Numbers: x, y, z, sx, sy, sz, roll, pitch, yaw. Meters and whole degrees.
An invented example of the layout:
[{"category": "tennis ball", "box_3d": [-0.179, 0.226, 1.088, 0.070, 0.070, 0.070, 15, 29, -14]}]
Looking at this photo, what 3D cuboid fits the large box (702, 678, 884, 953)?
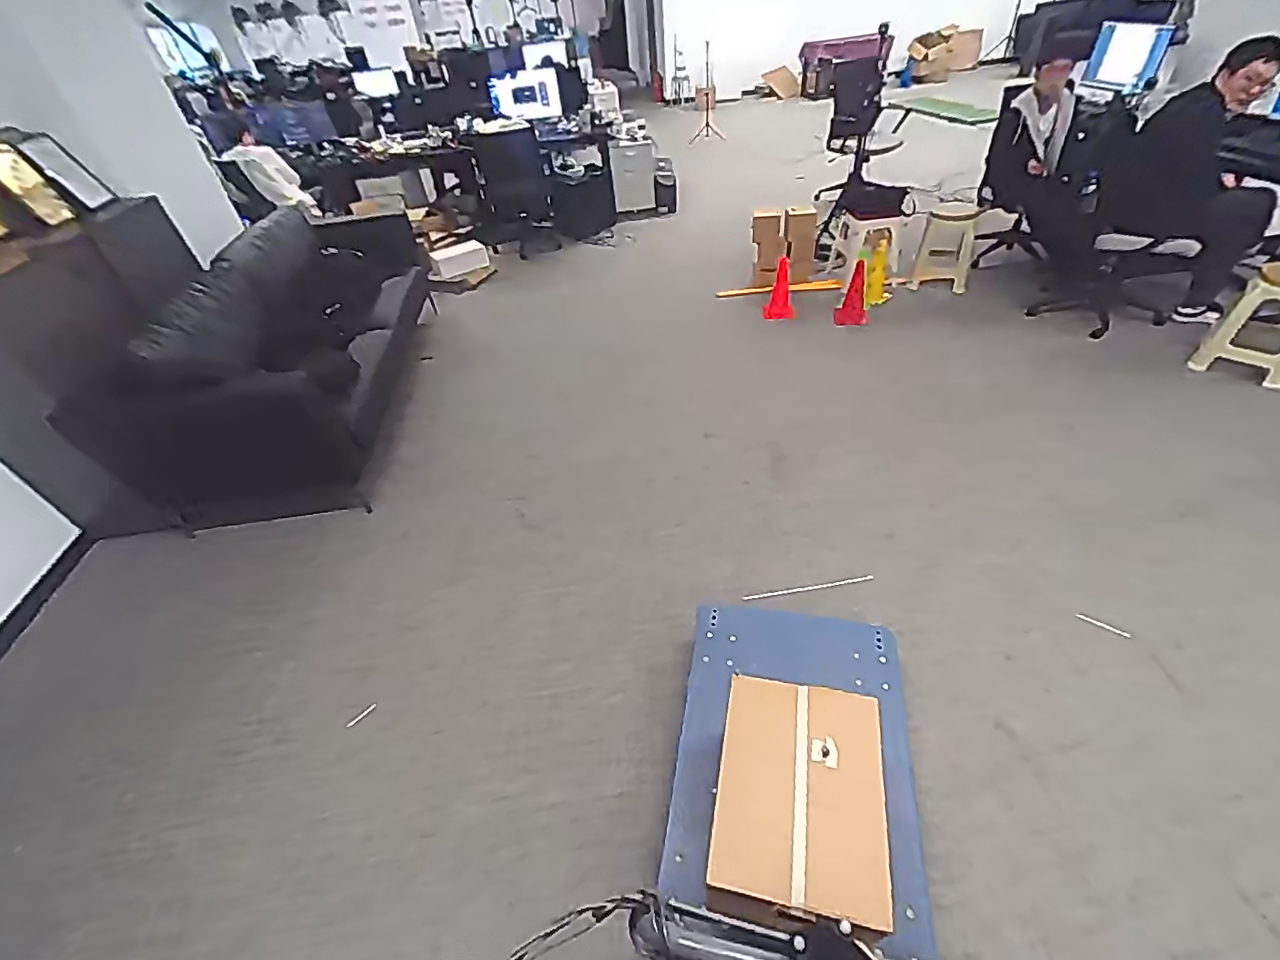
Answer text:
[{"category": "large box", "box_3d": [0.316, 0.710, 1.169, 0.320, 0.320, 0.408, 6, 44, 13]}]
